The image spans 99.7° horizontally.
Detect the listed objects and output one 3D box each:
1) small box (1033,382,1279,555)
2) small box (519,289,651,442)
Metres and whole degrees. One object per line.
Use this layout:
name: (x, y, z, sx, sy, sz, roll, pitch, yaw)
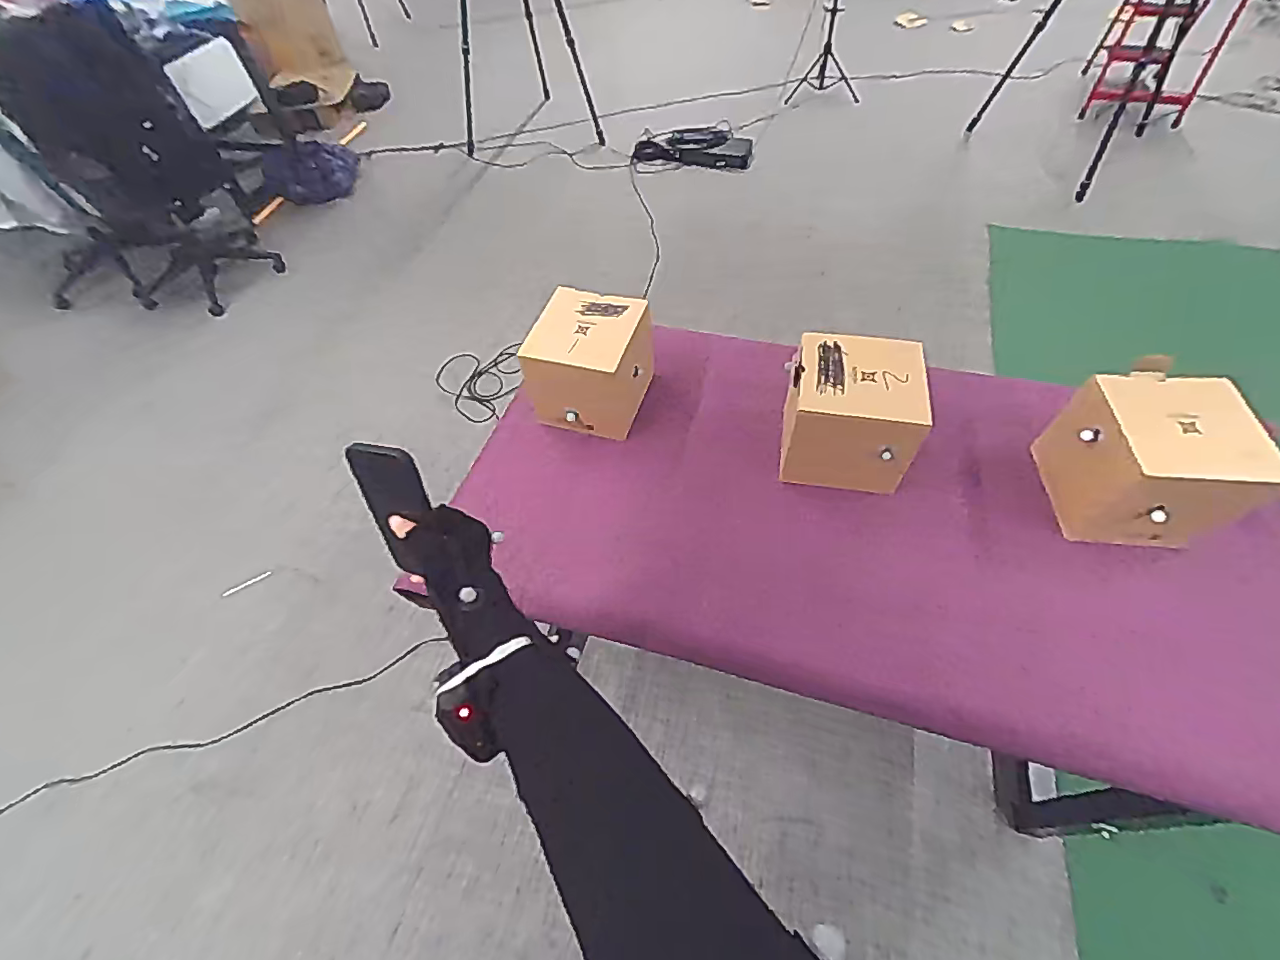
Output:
small box: (0.690, -0.012, 0.746, 0.168, 0.176, 0.179, 4, 54, 7)
small box: (-0.083, -0.195, 0.927, 0.168, 0.176, 0.179, 14, 58, 13)
